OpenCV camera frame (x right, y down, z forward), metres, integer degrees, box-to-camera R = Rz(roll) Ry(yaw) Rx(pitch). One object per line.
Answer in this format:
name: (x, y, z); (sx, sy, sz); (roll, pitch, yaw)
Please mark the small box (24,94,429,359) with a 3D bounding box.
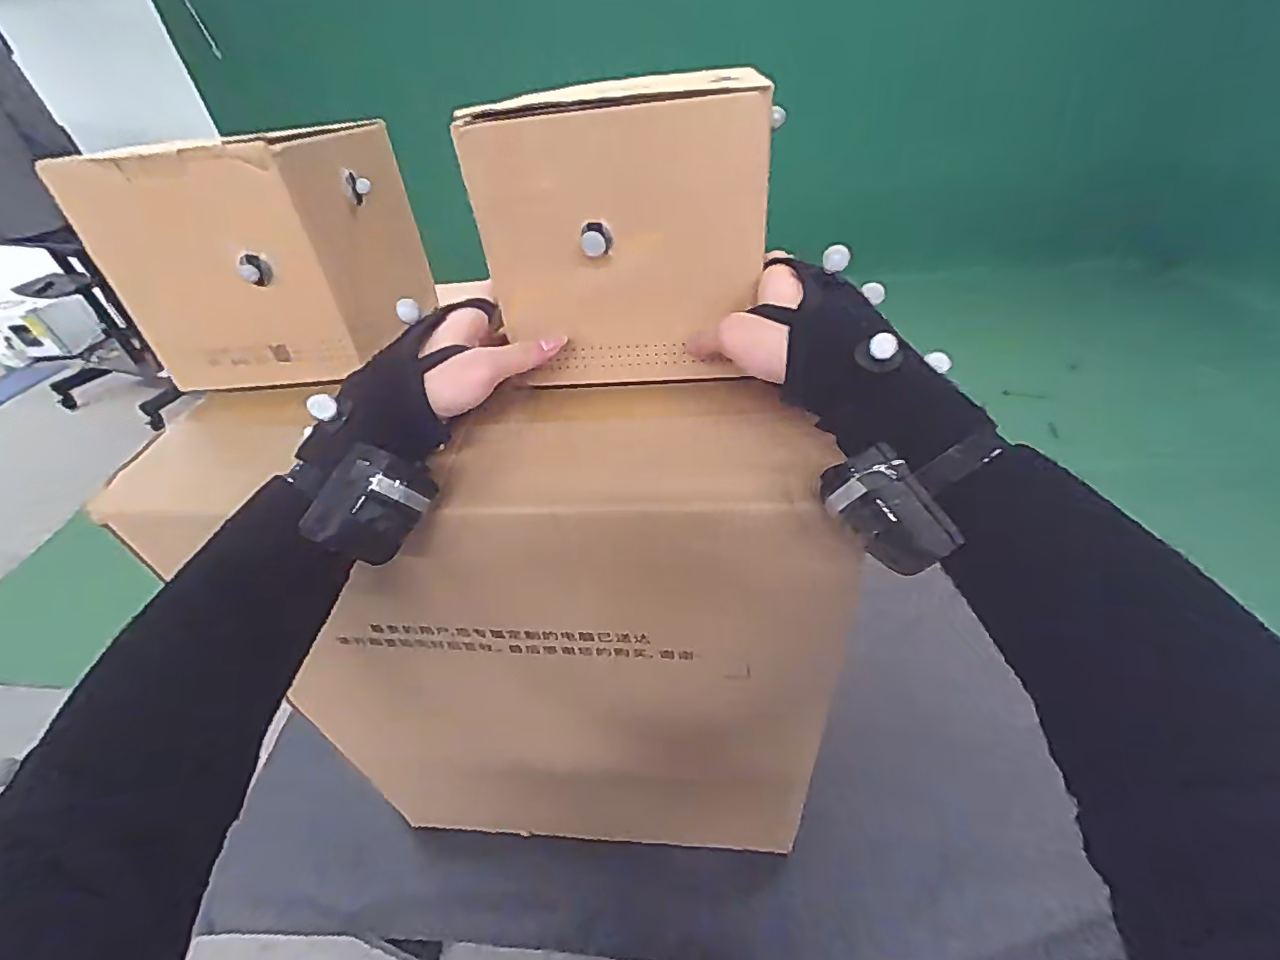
small box: (-0.296, -0.205, 0.444); (0.168, 0.176, 0.179); (-2, 35, 3)
